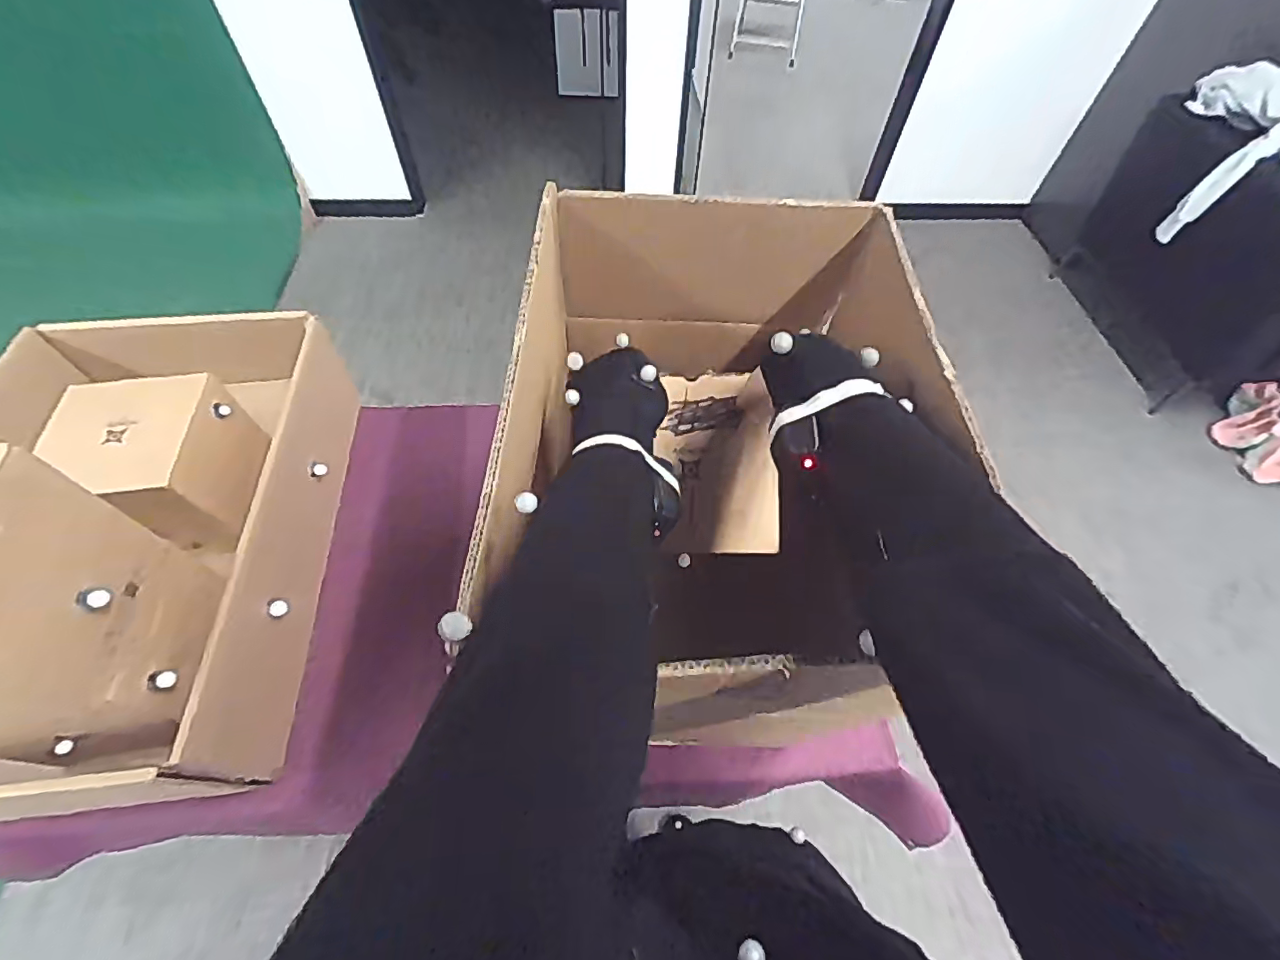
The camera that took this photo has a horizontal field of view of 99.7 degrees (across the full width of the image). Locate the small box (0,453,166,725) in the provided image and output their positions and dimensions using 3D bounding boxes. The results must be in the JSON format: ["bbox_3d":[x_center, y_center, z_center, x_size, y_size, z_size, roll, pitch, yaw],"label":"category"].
[{"bbox_3d":[-0.556,0.098,0.435,0.179,0.176,0.168,-4,57,-4],"label":"small box"}]

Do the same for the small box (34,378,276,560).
[{"bbox_3d":[-0.613,-0.005,0.702,0.168,0.176,0.179,-7,57,-5],"label":"small box"}]
